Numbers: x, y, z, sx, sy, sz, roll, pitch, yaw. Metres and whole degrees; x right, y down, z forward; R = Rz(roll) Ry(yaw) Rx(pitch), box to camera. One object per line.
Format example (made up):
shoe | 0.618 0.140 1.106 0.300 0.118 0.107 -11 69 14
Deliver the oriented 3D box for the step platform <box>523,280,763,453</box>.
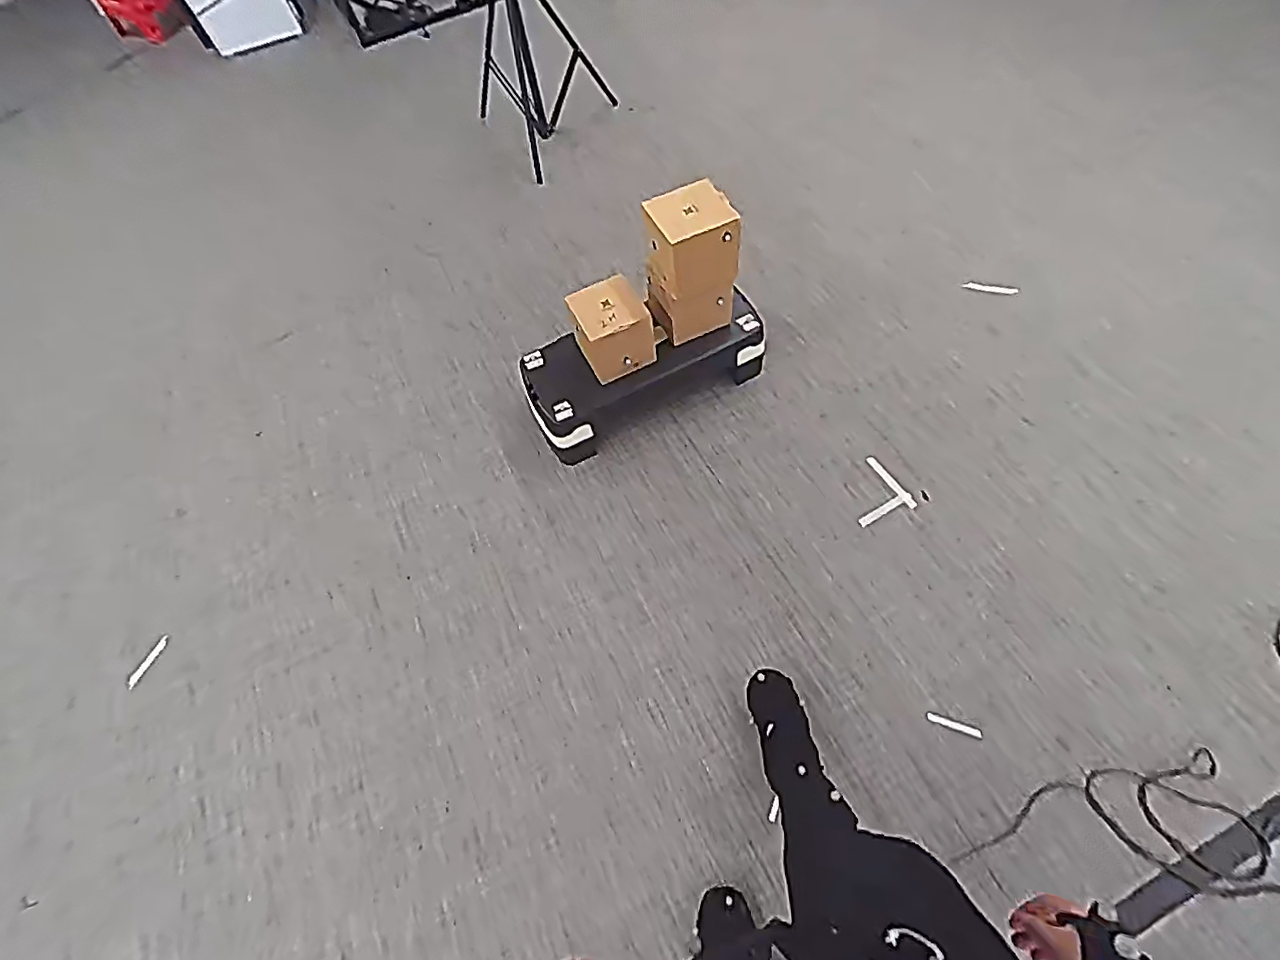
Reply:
step platform | 0.012 -0.355 1.575 0.684 0.204 0.286 -27 62 -7

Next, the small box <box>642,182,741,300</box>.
small box | 0.123 -0.564 1.290 0.179 0.176 0.168 -24 62 -7

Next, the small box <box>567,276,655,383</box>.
small box | -0.071 -0.386 1.403 0.168 0.176 0.179 -25 62 -7
